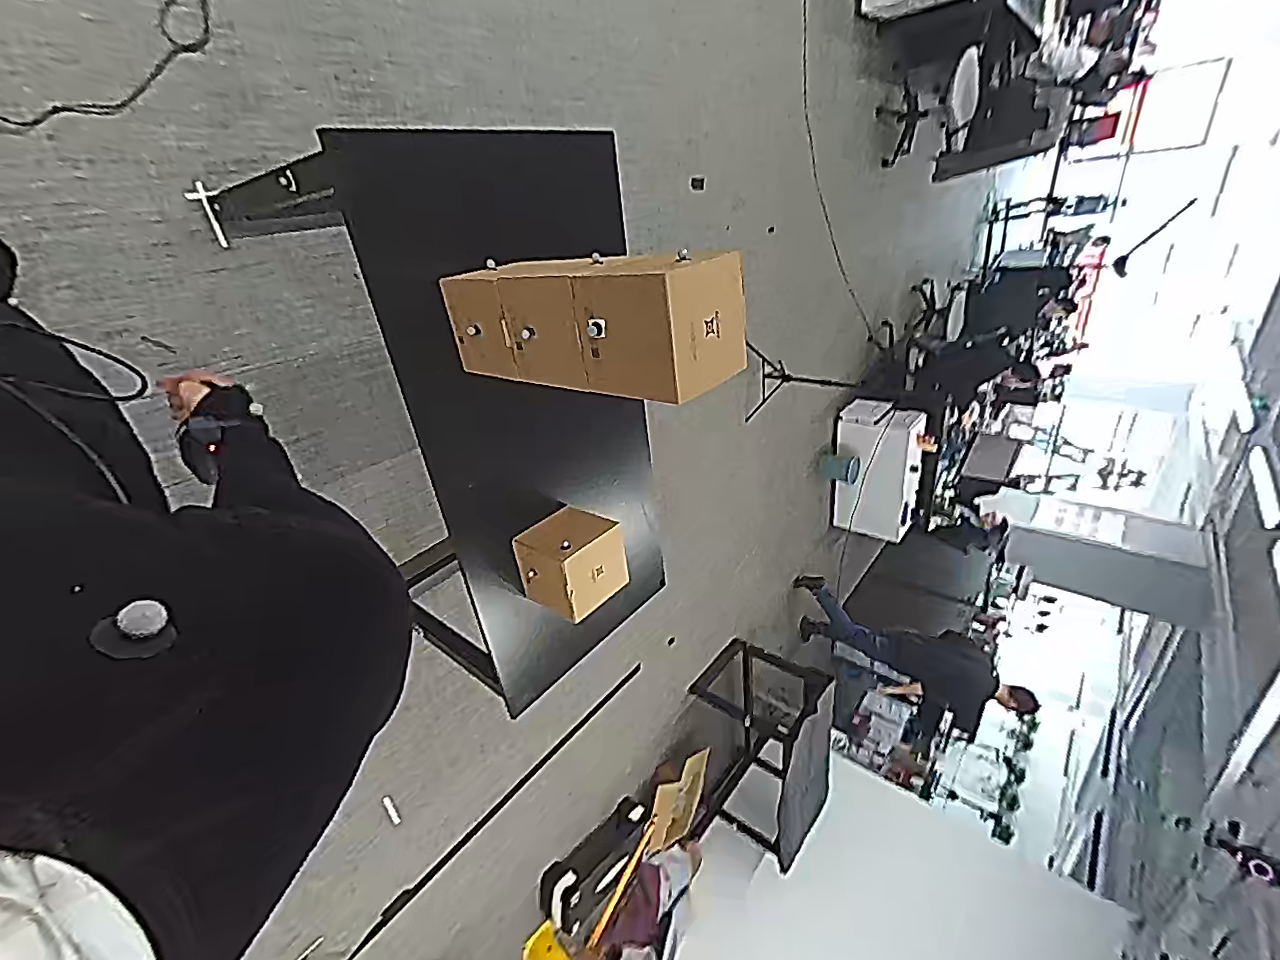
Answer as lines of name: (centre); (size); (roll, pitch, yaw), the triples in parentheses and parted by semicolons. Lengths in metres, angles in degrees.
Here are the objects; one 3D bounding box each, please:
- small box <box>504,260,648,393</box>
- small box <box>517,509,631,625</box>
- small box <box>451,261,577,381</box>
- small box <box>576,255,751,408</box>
small box: (-0.086, -0.252, 0.863); (0.179, 0.176, 0.168); (-34, 126, -40)
small box: (-0.145, 0.185, 1.211); (0.179, 0.176, 0.168); (-33, 126, -40)
small box: (-0.212, -0.286, 0.963); (0.179, 0.176, 0.168); (-34, 127, -39)
small box: (0.038, -0.216, 0.763); (0.179, 0.176, 0.168); (-34, 126, -39)
